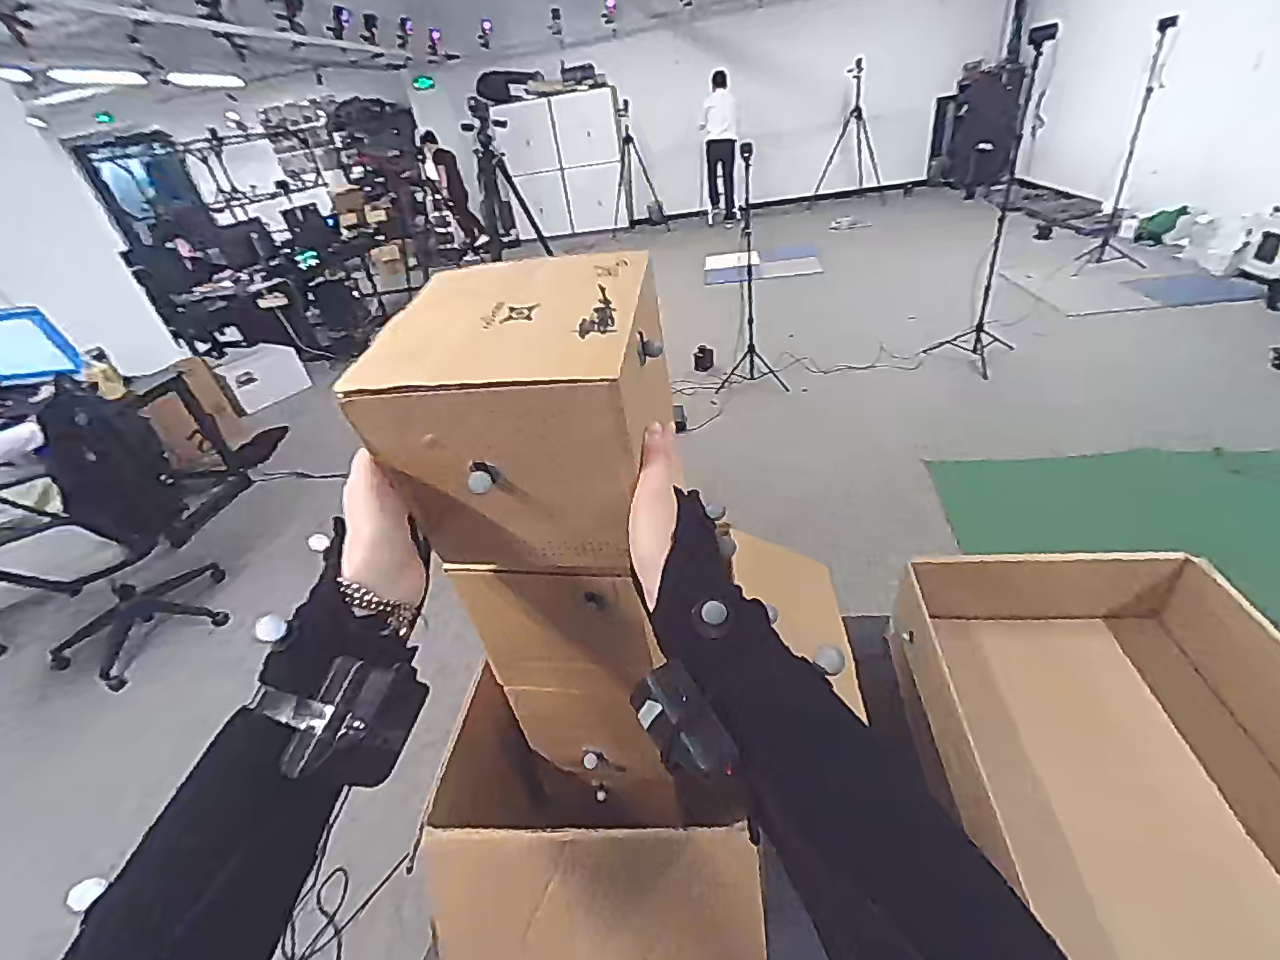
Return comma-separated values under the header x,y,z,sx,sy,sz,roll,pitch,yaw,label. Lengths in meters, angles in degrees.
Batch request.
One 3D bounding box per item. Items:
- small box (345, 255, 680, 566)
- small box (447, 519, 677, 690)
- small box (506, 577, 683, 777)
x,y,z,sx,sy,sz,roll,pitch,yaw,label
-0.069,-0.048,0.413,0.179,0.176,0.168,-1,47,11,small box
-0.063,0.098,0.567,0.179,0.176,0.168,0,36,13,small box
-0.039,0.228,0.661,0.168,0.176,0.179,-1,37,12,small box
